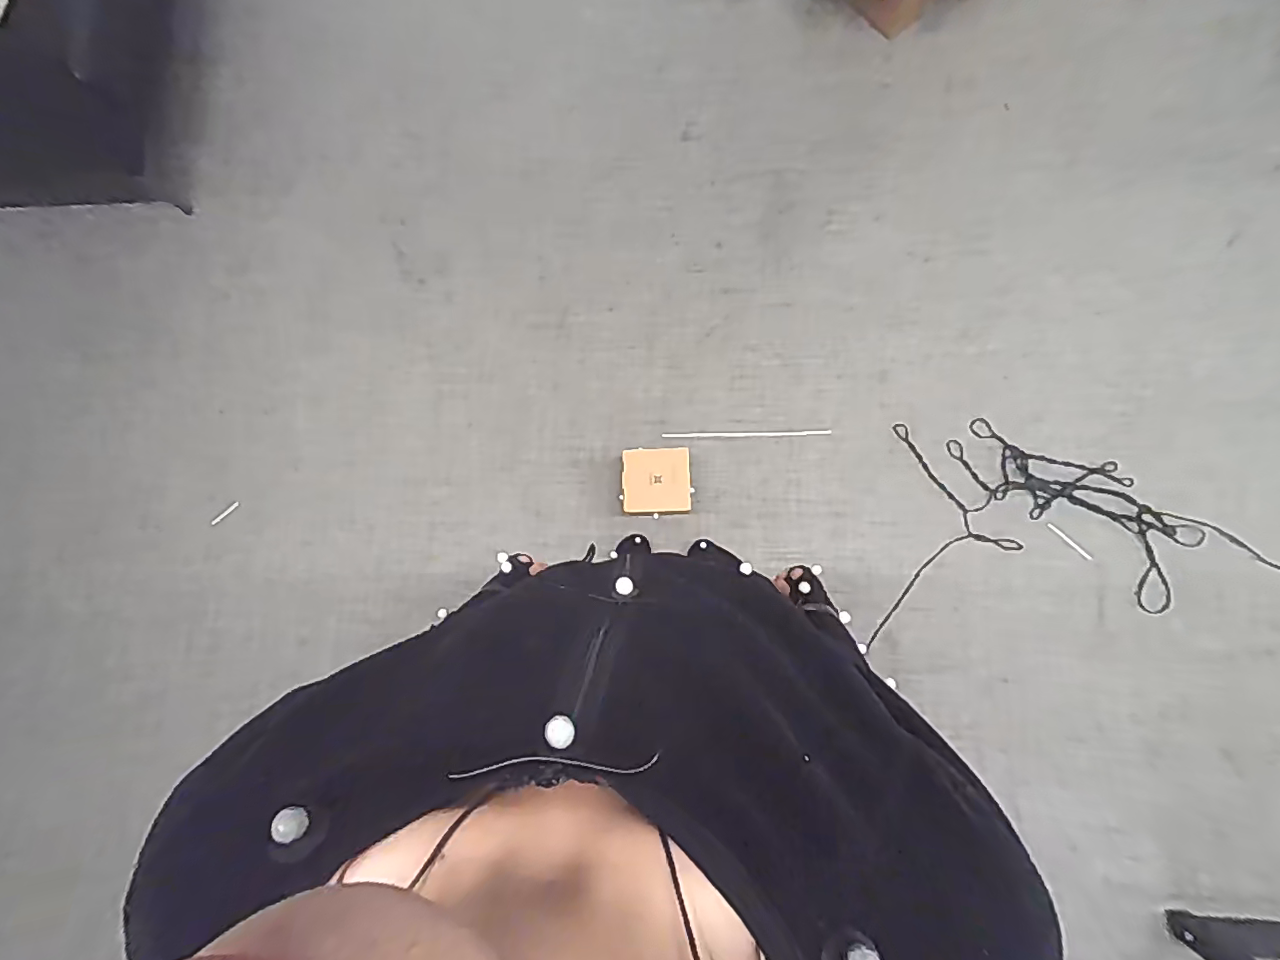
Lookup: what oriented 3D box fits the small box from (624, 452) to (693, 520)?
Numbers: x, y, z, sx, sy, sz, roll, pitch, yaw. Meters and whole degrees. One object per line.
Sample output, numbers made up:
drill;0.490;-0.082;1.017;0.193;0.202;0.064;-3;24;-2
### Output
small box;0.053;0.021;1.459;0.179;0.176;0.168;-2;83;4
